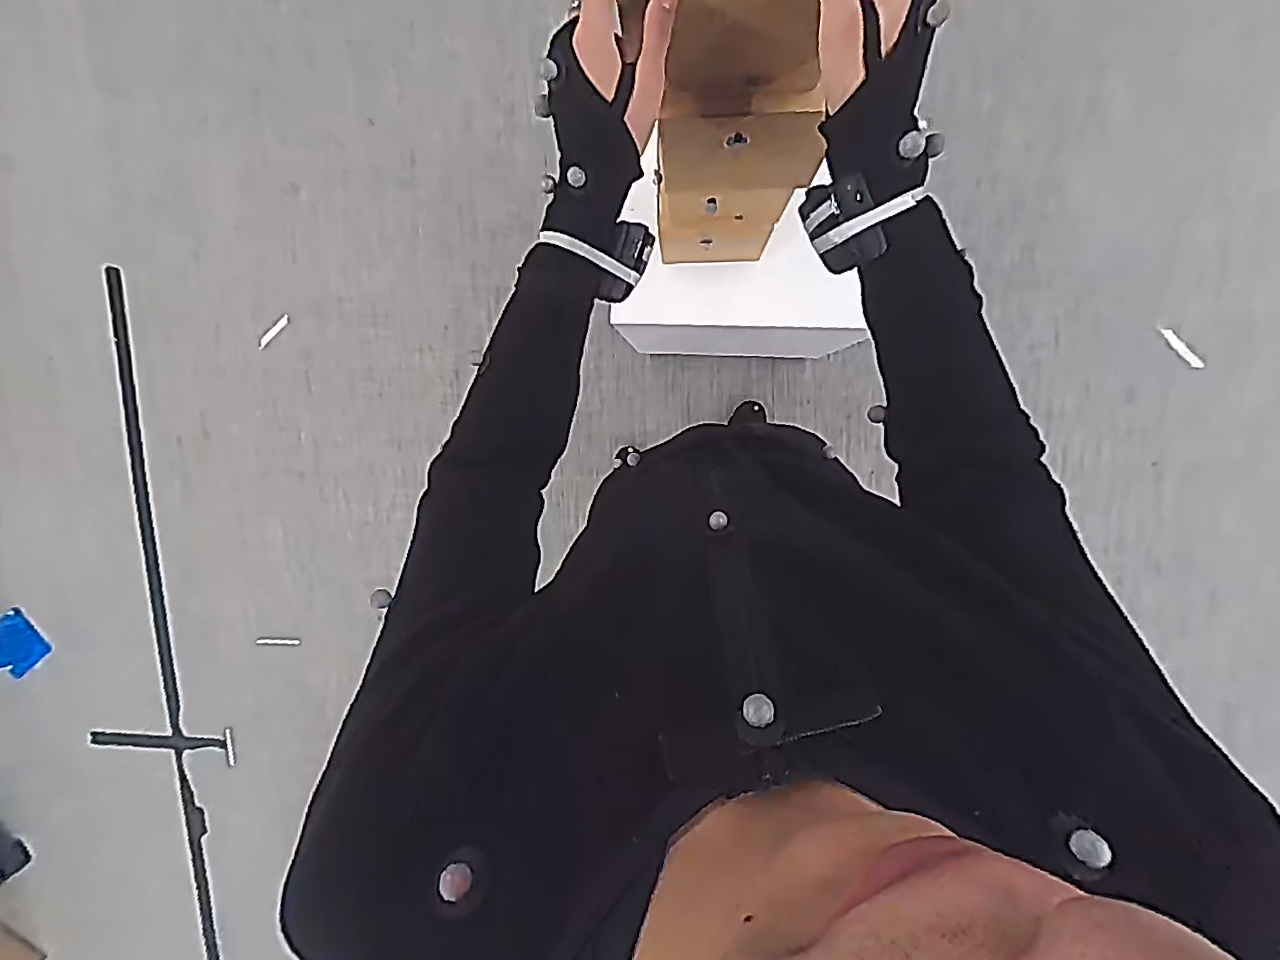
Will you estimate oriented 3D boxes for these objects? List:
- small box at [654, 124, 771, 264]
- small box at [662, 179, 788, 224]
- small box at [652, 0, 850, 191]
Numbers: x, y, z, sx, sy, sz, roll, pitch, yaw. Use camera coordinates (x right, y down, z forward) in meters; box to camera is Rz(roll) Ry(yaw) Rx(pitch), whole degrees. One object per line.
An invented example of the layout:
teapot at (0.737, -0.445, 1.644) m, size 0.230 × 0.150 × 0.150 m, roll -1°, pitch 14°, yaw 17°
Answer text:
small box at (0.116, -0.462, 0.887) m, size 0.179 × 0.176 × 0.168 m, roll 0°, pitch 97°, yaw 4°
small box at (0.116, -0.457, 0.725) m, size 0.168 × 0.176 × 0.179 m, roll 1°, pitch 96°, yaw 4°
small box at (0.106, -0.420, 0.563) m, size 0.179 × 0.176 × 0.168 m, roll 0°, pitch 96°, yaw 4°
